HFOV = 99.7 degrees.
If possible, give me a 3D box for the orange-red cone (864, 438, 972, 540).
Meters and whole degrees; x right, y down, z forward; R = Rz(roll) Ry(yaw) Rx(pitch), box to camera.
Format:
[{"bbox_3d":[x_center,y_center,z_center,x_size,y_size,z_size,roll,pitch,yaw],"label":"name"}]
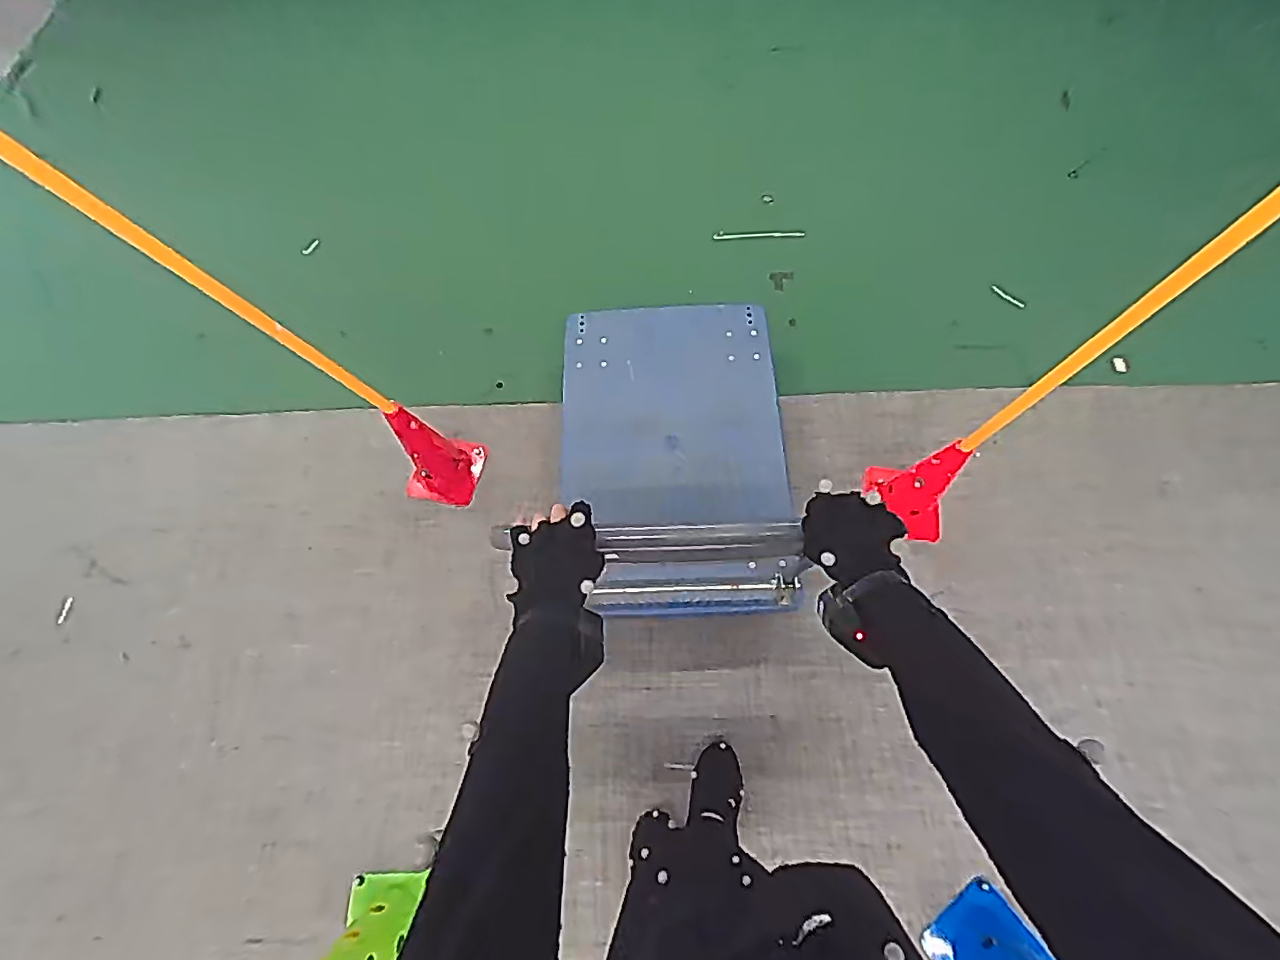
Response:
[{"bbox_3d":[0.709,-0.006,1.326,0.198,0.360,0.199,9,69,7],"label":"orange-red cone"}]
